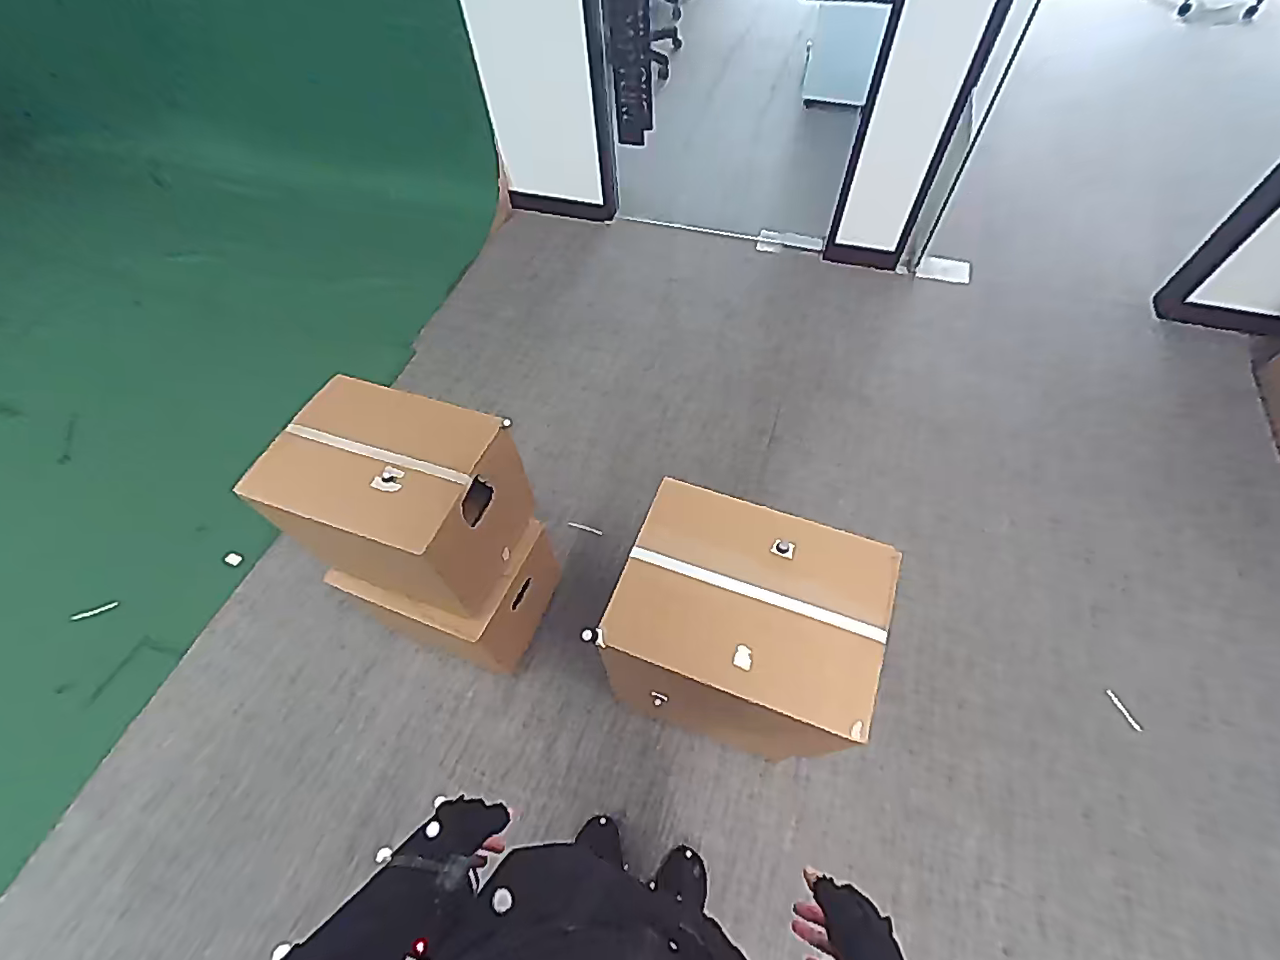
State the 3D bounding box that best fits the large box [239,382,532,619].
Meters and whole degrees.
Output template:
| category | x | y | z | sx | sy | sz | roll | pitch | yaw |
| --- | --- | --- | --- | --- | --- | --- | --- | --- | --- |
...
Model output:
| category | x | y | z | sx | sy | sz | roll | pitch | yaw |
| --- | --- | --- | --- | --- | --- | --- | --- | --- | --- |
| large box | -0.494 | 0.045 | 1.143 | 0.408 | 0.320 | 0.320 | 16 | 57 | 11 |
